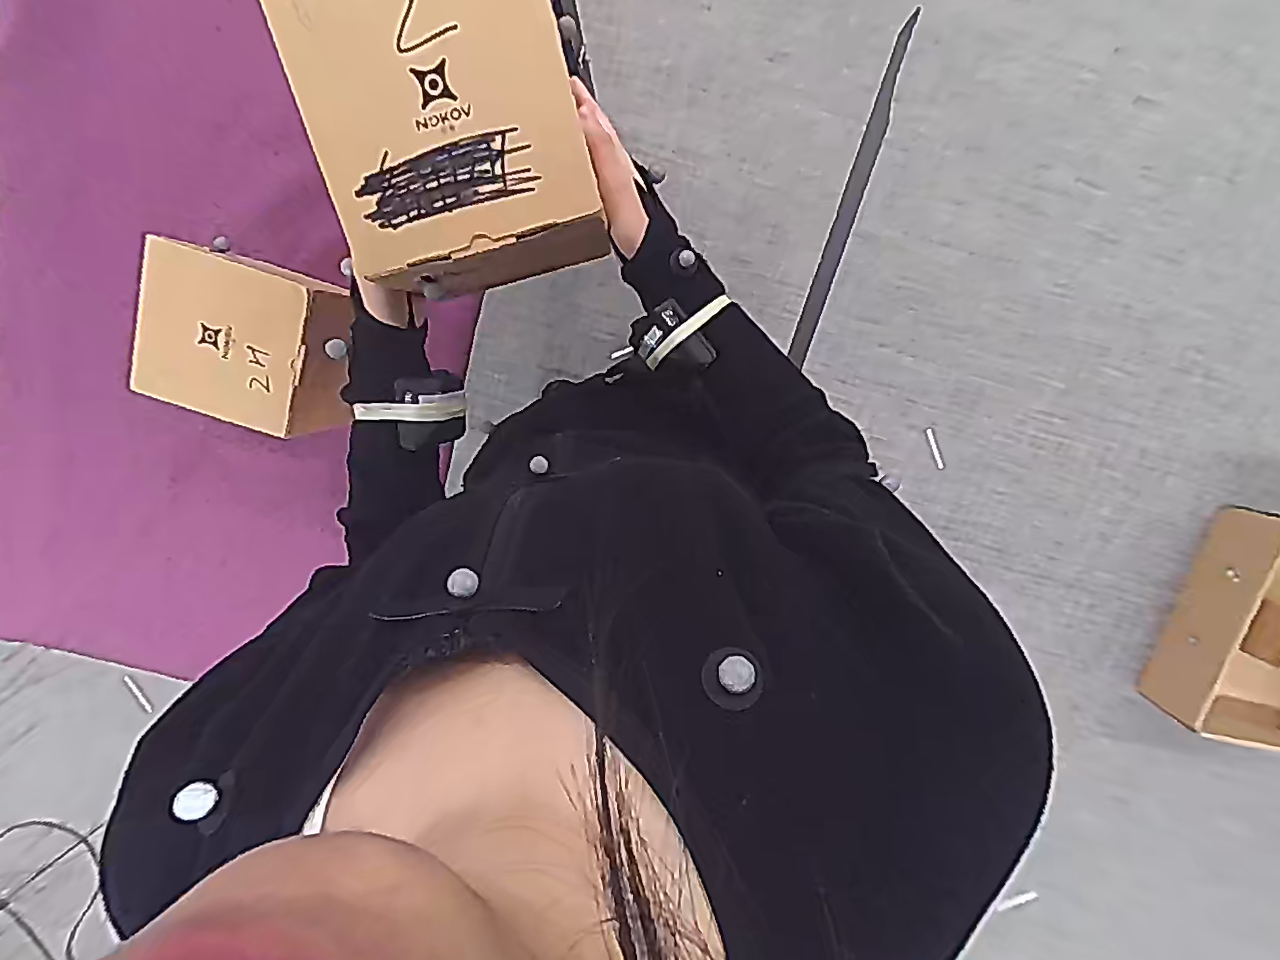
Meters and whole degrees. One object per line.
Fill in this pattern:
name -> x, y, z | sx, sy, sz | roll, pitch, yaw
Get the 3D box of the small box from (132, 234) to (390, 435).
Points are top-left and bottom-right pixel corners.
small box -> -0.436, -0.166, 0.645 | 0.179, 0.176, 0.168 | 18, 103, -2

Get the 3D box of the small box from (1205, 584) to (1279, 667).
small box -> 1.713, 0.393, 1.457 | 0.179, 0.176, 0.168 | 7, 102, 0
